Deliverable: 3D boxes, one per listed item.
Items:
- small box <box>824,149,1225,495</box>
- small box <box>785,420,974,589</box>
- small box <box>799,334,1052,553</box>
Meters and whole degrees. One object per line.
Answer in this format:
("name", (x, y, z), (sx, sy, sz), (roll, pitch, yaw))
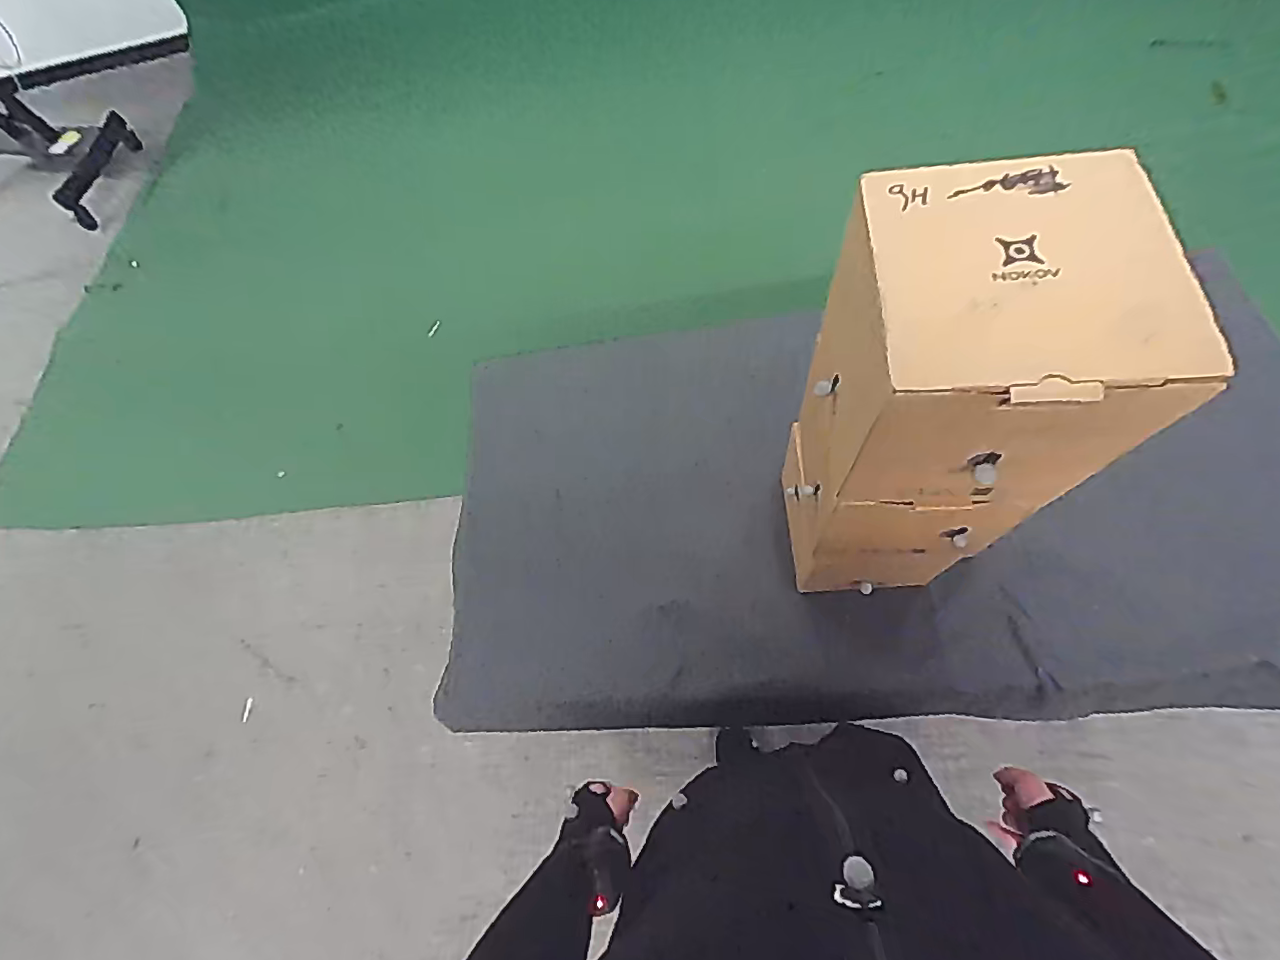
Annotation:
("small box", (0.233, -0.094, 0.389), (0.168, 0.176, 0.179), (0, 68, 9))
("small box", (0.282, 0.032, 0.685), (0.168, 0.176, 0.179), (-5, 67, 8))
("small box", (0.256, -0.029, 0.537), (0.168, 0.176, 0.179), (-2, 66, 8))
